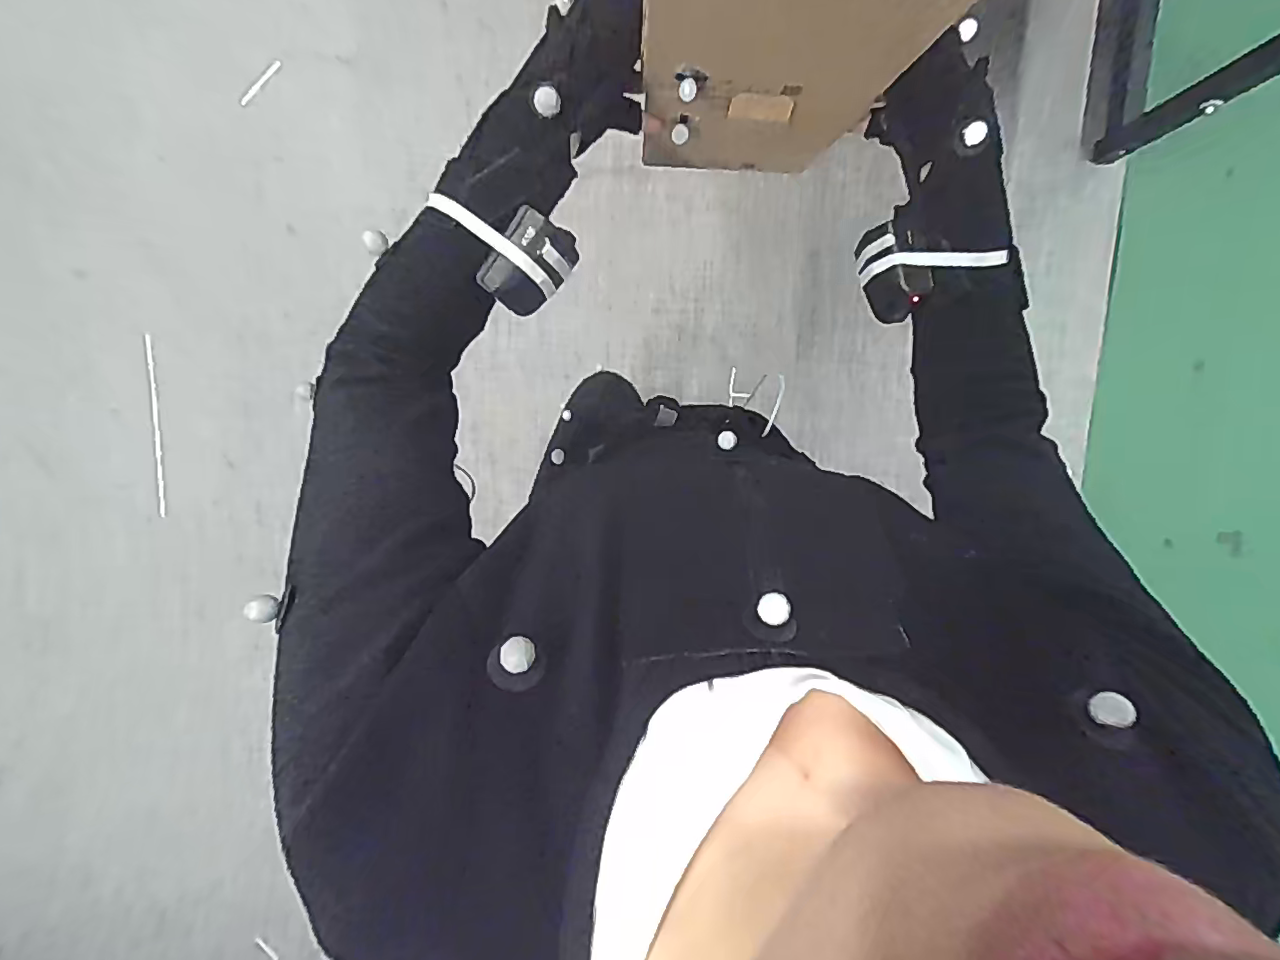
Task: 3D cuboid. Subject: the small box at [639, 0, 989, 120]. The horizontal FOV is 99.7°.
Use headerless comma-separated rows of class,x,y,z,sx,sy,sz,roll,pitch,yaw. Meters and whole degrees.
small box,0.090,-0.326,0.291,0.168,0.176,0.179,5,104,-4
